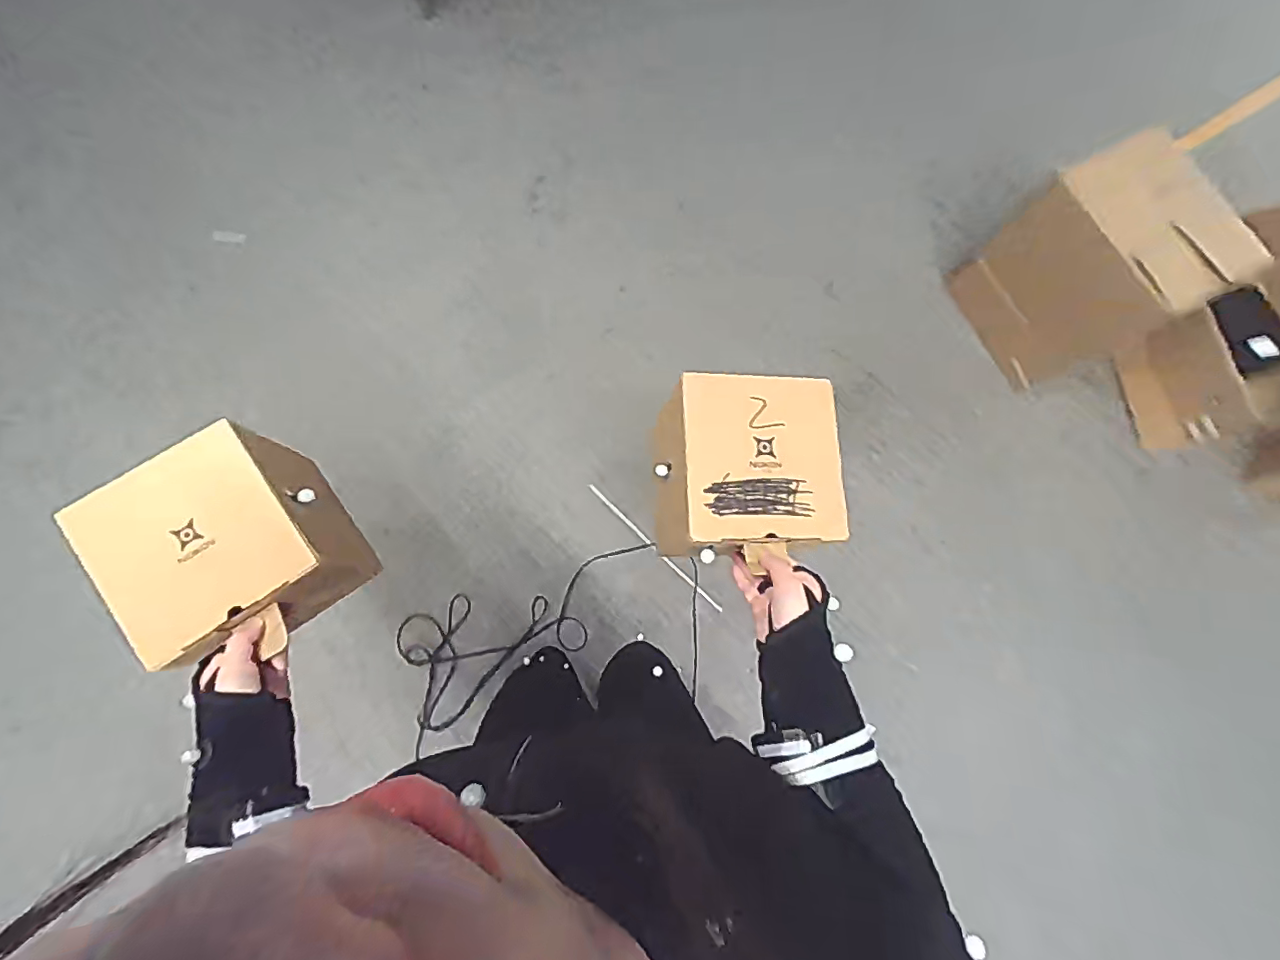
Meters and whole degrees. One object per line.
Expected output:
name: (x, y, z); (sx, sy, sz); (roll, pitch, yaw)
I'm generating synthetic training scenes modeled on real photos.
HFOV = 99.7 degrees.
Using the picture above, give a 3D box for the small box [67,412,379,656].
small box: (-0.420, 0.061, 0.581); (0.168, 0.176, 0.179); (-34, 86, -11)
